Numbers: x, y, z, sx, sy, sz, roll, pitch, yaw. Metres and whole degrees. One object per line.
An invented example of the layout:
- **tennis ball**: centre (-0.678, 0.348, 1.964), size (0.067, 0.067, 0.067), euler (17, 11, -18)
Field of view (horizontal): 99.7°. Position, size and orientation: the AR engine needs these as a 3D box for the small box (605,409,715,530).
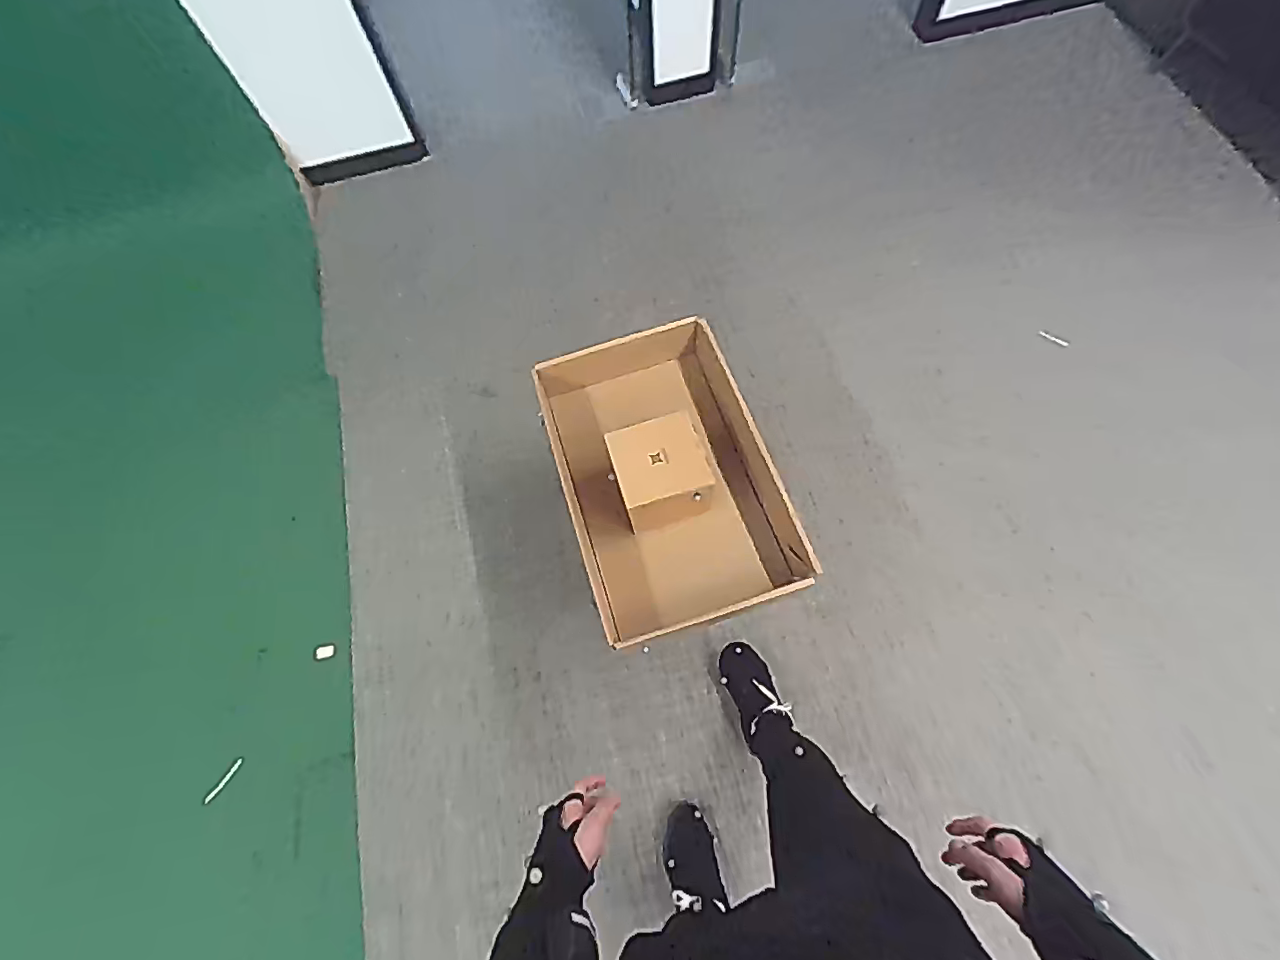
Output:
- **small box**: centre (0.041, -0.014, 1.095), size (0.179, 0.176, 0.168), euler (-17, 68, -4)
